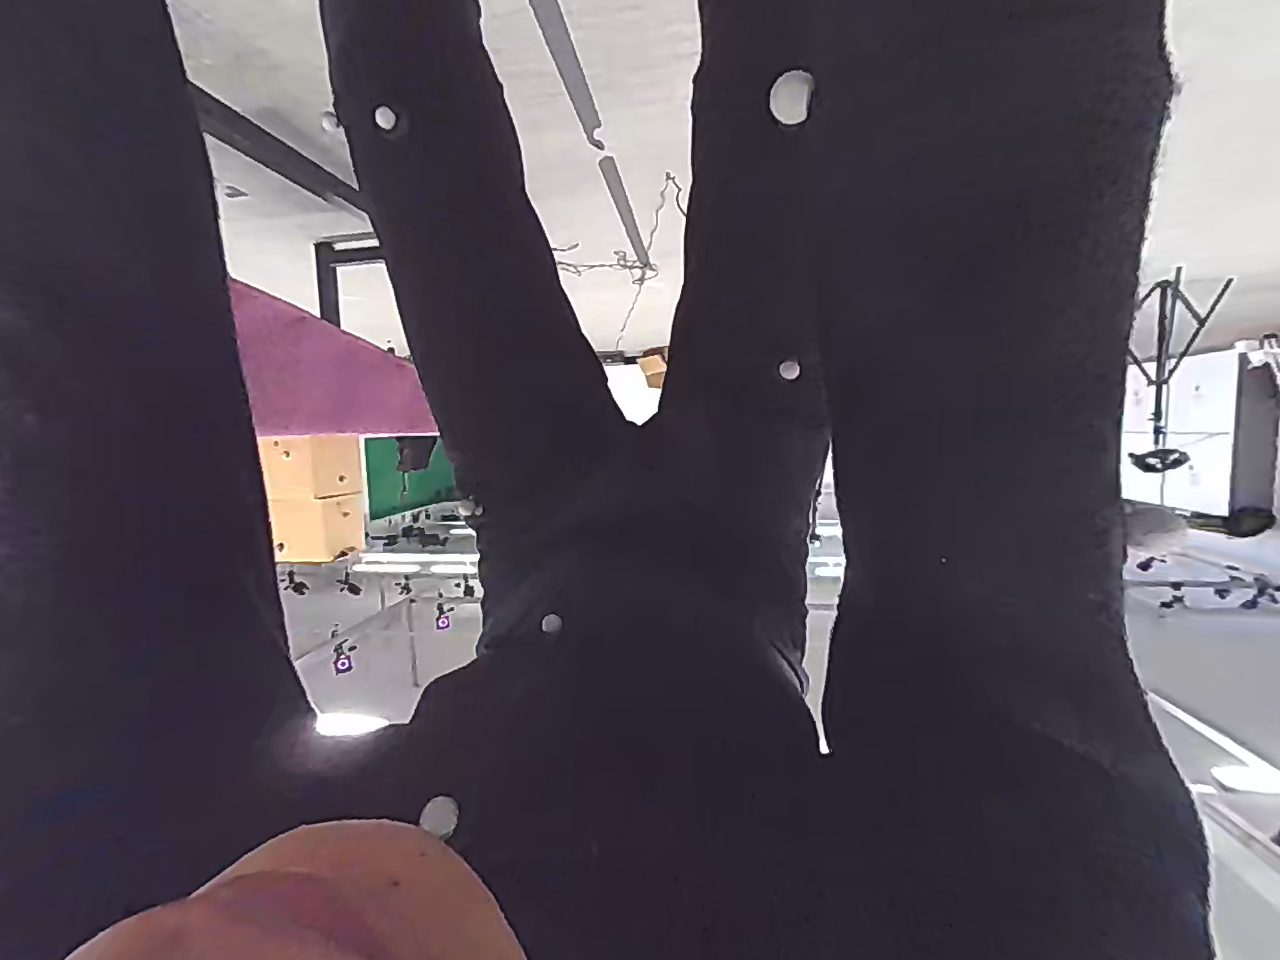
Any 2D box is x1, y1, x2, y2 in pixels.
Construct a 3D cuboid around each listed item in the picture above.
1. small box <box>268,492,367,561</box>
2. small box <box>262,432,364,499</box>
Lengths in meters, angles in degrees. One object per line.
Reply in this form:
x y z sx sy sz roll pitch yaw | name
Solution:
-0.876 0.120 1.474 0.179 0.176 0.168 -1 -174 7 | small box
-0.877 -0.044 1.458 0.168 0.176 0.179 -1 -175 13 | small box
